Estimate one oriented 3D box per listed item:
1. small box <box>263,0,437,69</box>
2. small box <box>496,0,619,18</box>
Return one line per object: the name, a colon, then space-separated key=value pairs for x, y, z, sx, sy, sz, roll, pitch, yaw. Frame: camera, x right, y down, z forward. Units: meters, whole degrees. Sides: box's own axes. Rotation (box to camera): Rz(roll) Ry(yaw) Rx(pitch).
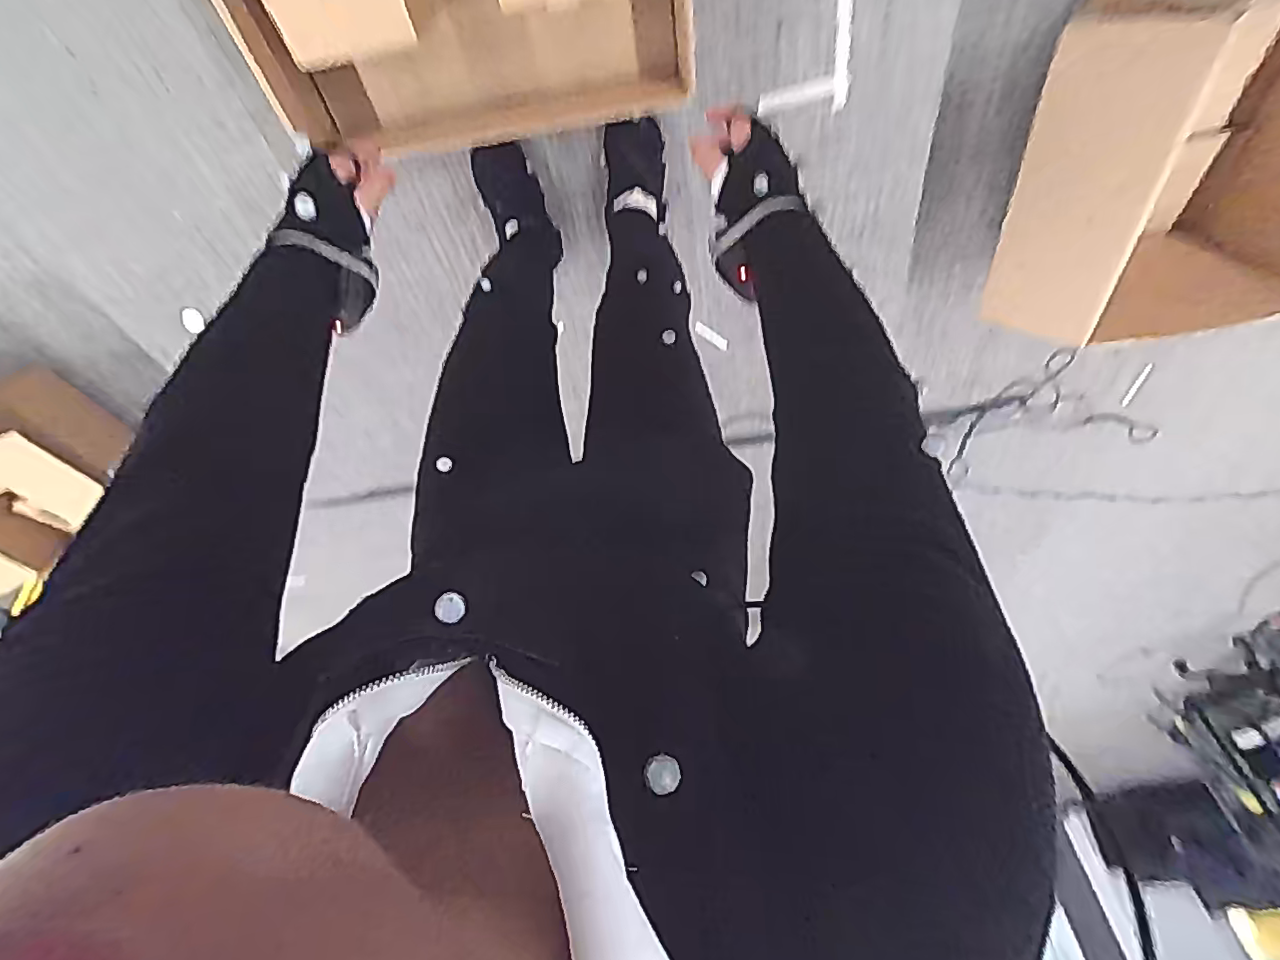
small box: x=-0.398 y=-0.685 z=0.724 sx=0.179 sy=0.176 sz=0.168 roll=-9 pitch=141 yaw=4
small box: x=-0.115 y=-0.731 z=0.690 sx=0.168 sy=0.176 sz=0.179 roll=-5 pitch=140 yaw=3
